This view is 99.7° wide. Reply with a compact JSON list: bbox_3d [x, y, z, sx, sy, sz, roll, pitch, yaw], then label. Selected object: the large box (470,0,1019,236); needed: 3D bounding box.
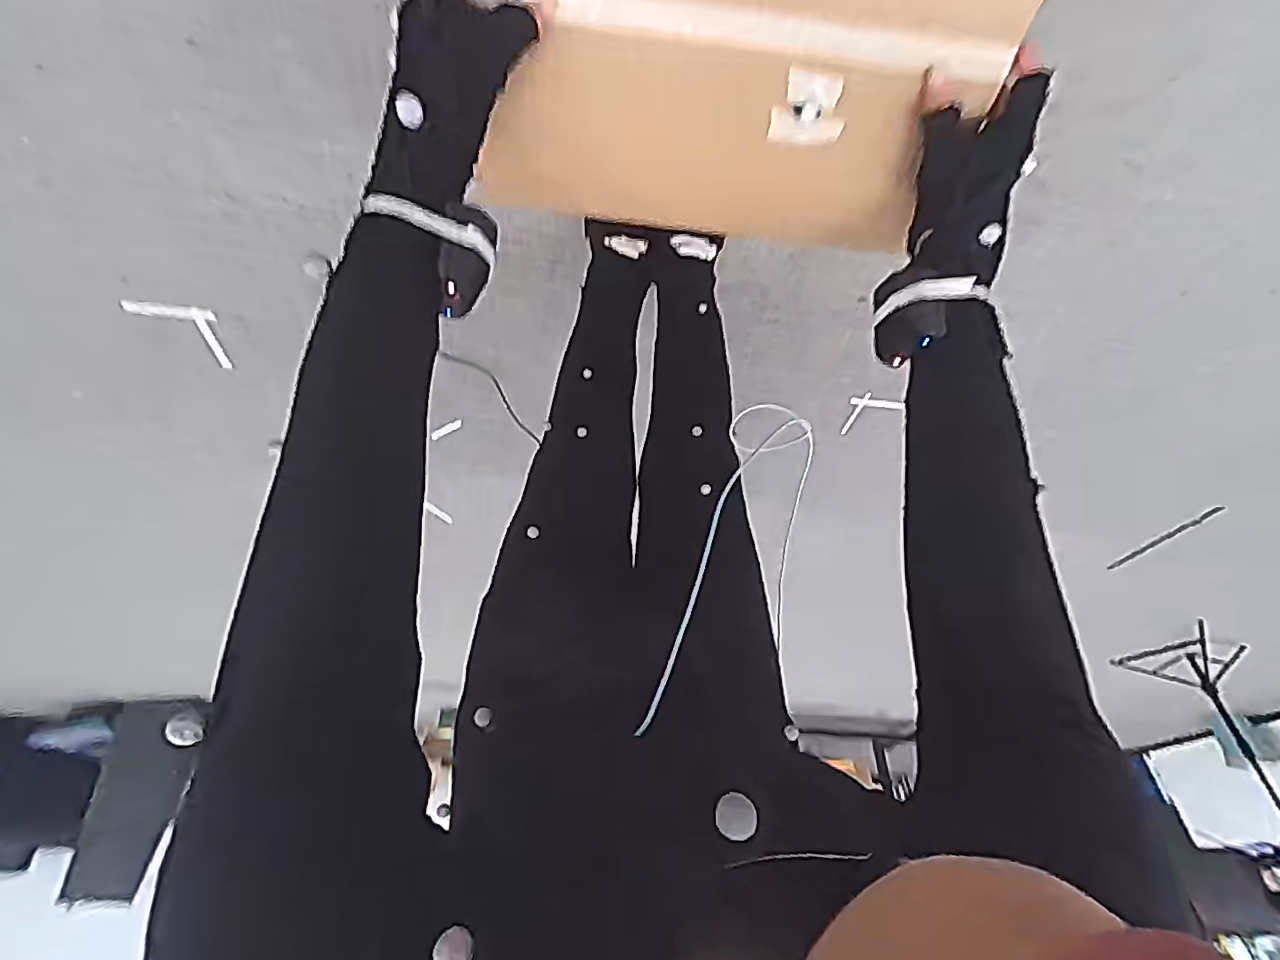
[{"bbox_3d":[0.077,-0.466,0.488,0.408,0.320,0.320,6,144,-3],"label":"large box"}]
